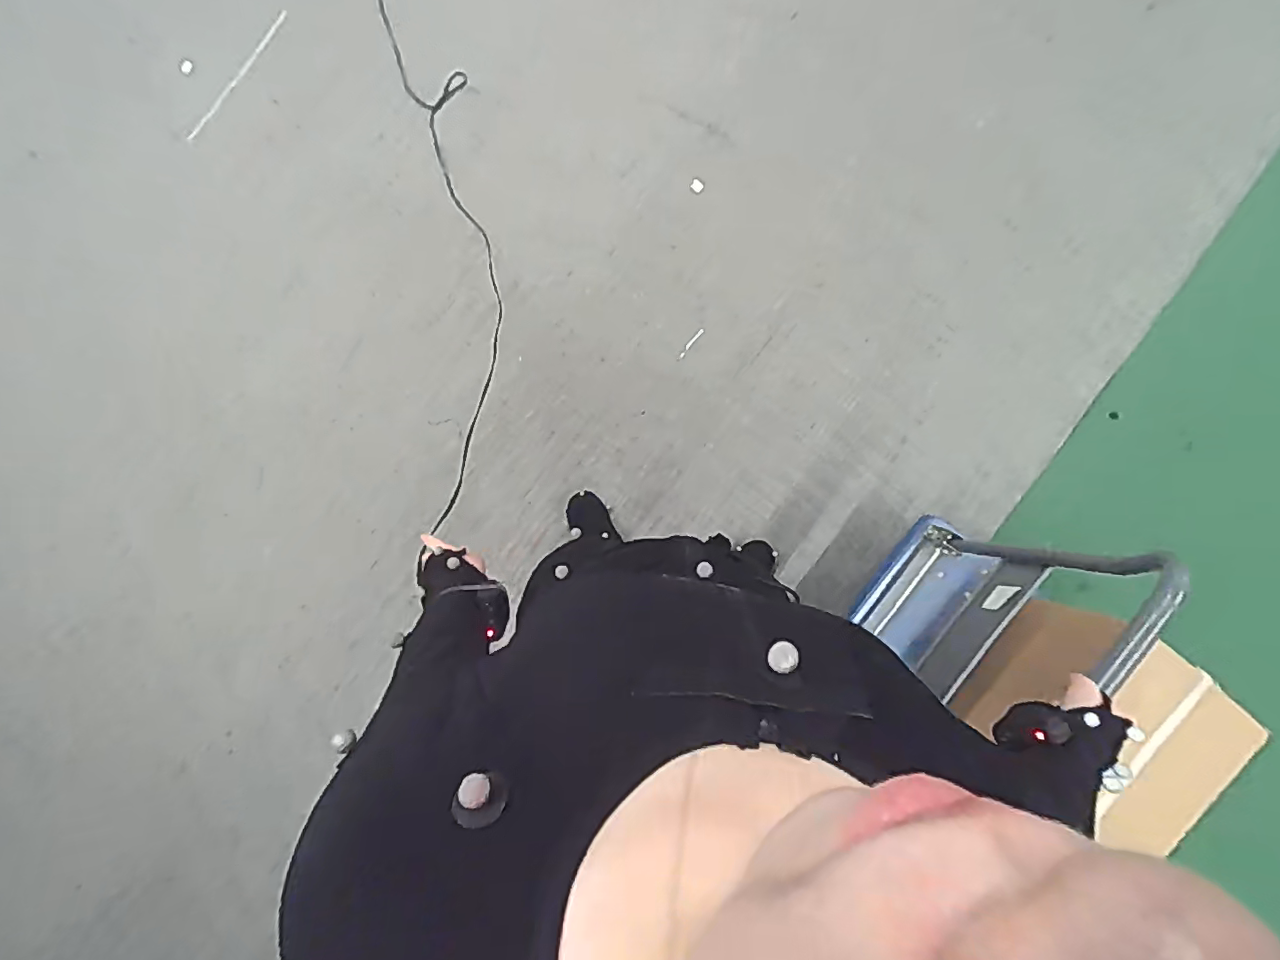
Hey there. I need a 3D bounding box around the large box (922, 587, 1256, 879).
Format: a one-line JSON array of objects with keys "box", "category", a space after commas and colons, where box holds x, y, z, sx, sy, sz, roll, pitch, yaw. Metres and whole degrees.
[{"box": [0.918, 0.500, 1.161, 0.320, 0.320, 0.408, 41, 90, 2], "category": "large box"}]
